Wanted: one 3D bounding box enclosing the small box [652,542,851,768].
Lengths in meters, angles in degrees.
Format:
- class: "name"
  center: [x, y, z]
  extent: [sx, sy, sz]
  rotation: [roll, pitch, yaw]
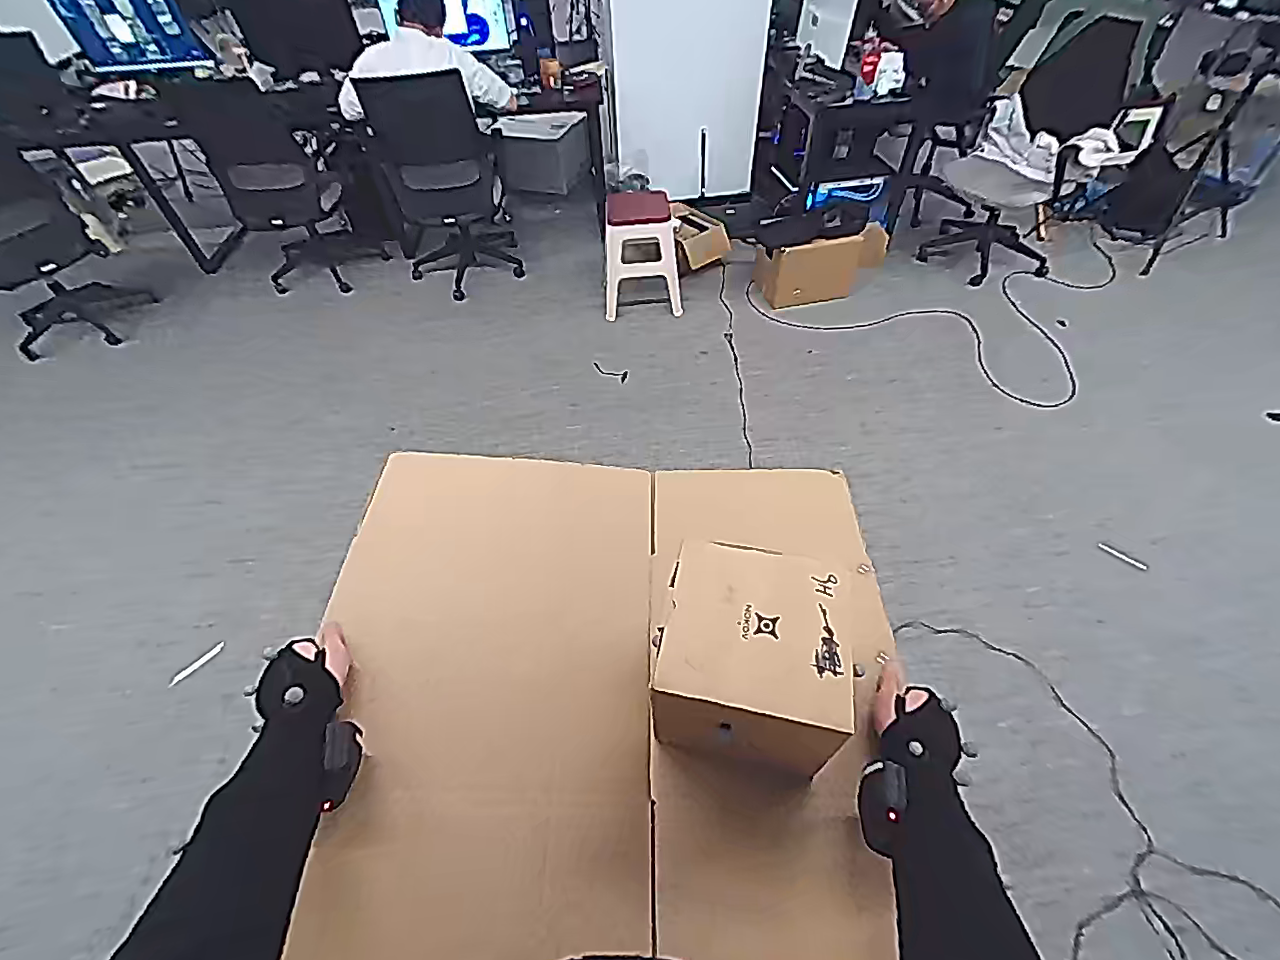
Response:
- class: "small box"
  center: [0.119, 0.191, 0.582]
  extent: [0.179, 0.176, 0.168]
  rotation: [8, 51, 11]
